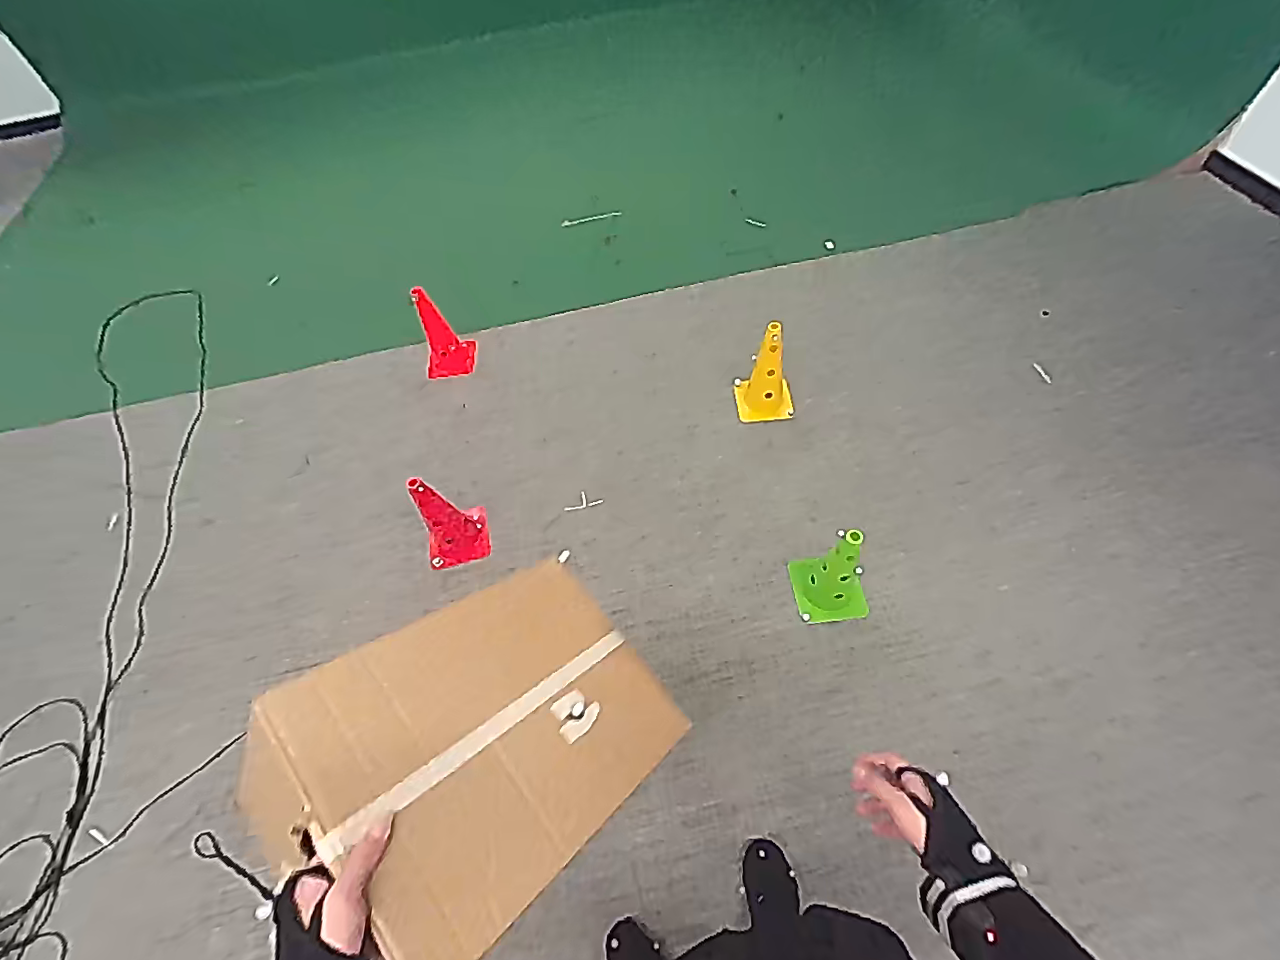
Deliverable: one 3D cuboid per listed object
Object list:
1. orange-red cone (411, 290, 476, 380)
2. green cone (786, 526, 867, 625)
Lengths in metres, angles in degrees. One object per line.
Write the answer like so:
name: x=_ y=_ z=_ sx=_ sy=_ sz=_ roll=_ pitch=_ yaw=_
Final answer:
orange-red cone: x=-0.815 y=-0.593 z=2.143 sx=0.199 sy=0.360 sz=0.198 roll=-7 pitch=56 yaw=3
green cone: x=0.544 y=0.234 z=1.482 sx=0.200 sy=0.368 sz=0.202 roll=-8 pitch=56 yaw=0
